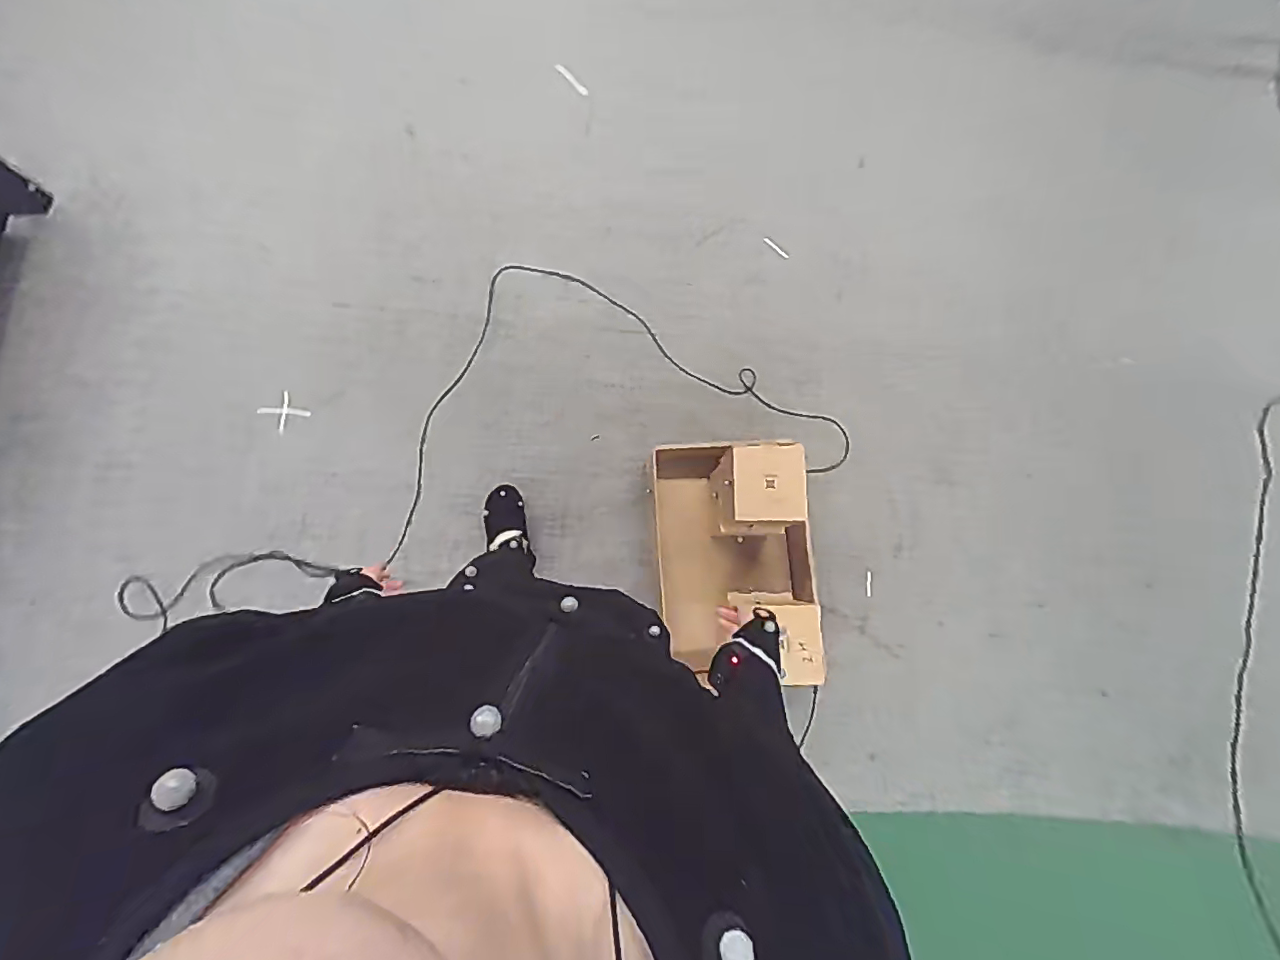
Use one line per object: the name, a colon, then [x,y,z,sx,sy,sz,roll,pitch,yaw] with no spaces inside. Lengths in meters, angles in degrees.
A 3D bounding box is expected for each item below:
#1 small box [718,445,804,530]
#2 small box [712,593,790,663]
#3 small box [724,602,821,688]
small box: [0.280,0.023,1.284,0.168,0.176,0.179,1,81,-2]
small box: [0.280,0.382,1.387,0.168,0.176,0.179,1,79,-4]
small box: [0.290,0.367,1.222,0.179,0.176,0.168,1,81,-4]
